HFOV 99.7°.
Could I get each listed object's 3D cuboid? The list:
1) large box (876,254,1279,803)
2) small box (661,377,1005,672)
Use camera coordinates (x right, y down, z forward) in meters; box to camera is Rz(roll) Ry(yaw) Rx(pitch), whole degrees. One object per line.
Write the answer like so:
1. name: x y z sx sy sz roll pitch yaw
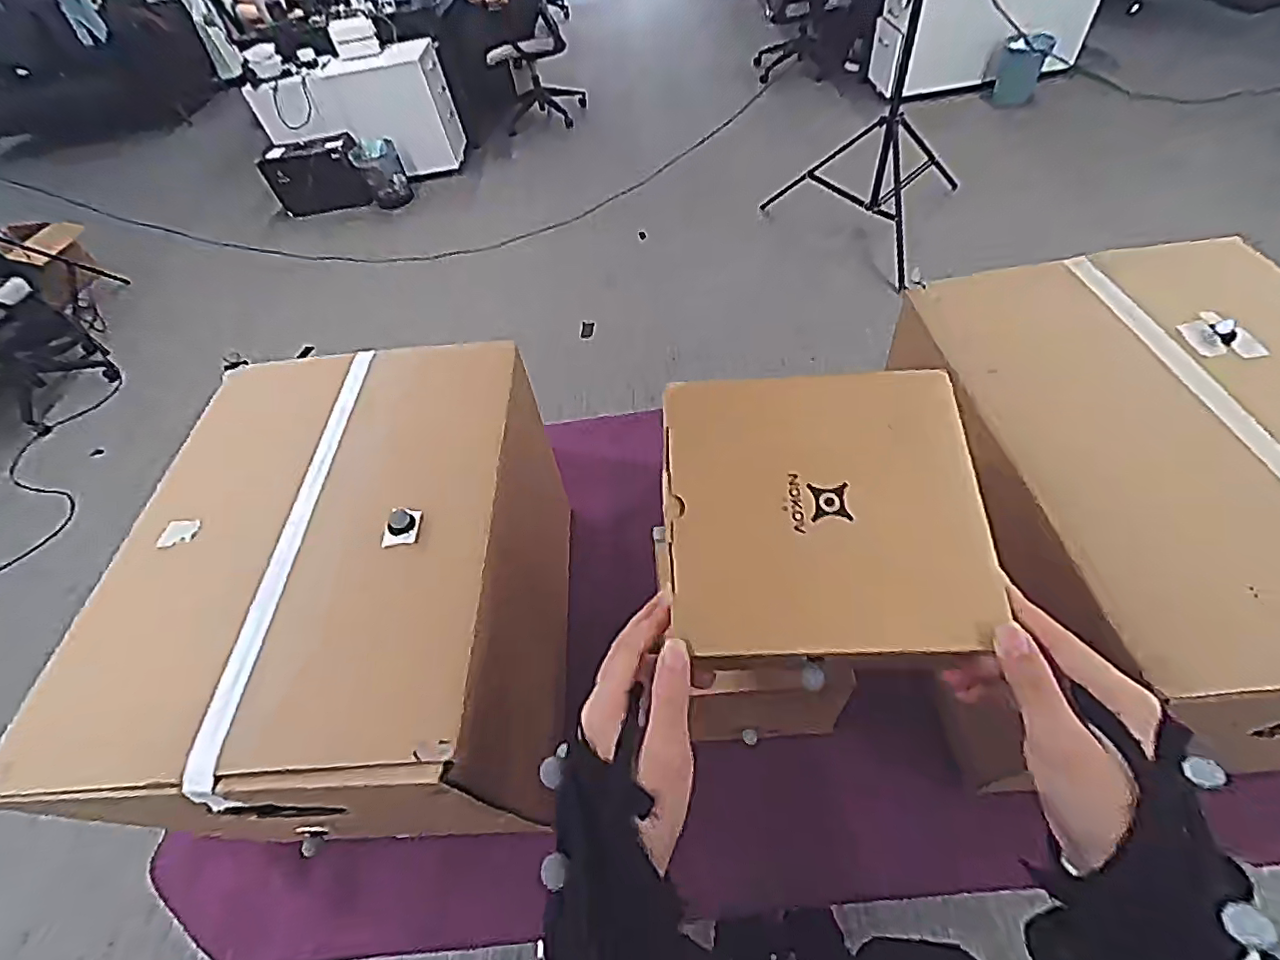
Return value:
1. large box: 0.438 0.047 0.523 0.320 0.320 0.408 -7 50 4
2. small box: 0.106 0.044 0.383 0.179 0.176 0.168 -3 68 4
